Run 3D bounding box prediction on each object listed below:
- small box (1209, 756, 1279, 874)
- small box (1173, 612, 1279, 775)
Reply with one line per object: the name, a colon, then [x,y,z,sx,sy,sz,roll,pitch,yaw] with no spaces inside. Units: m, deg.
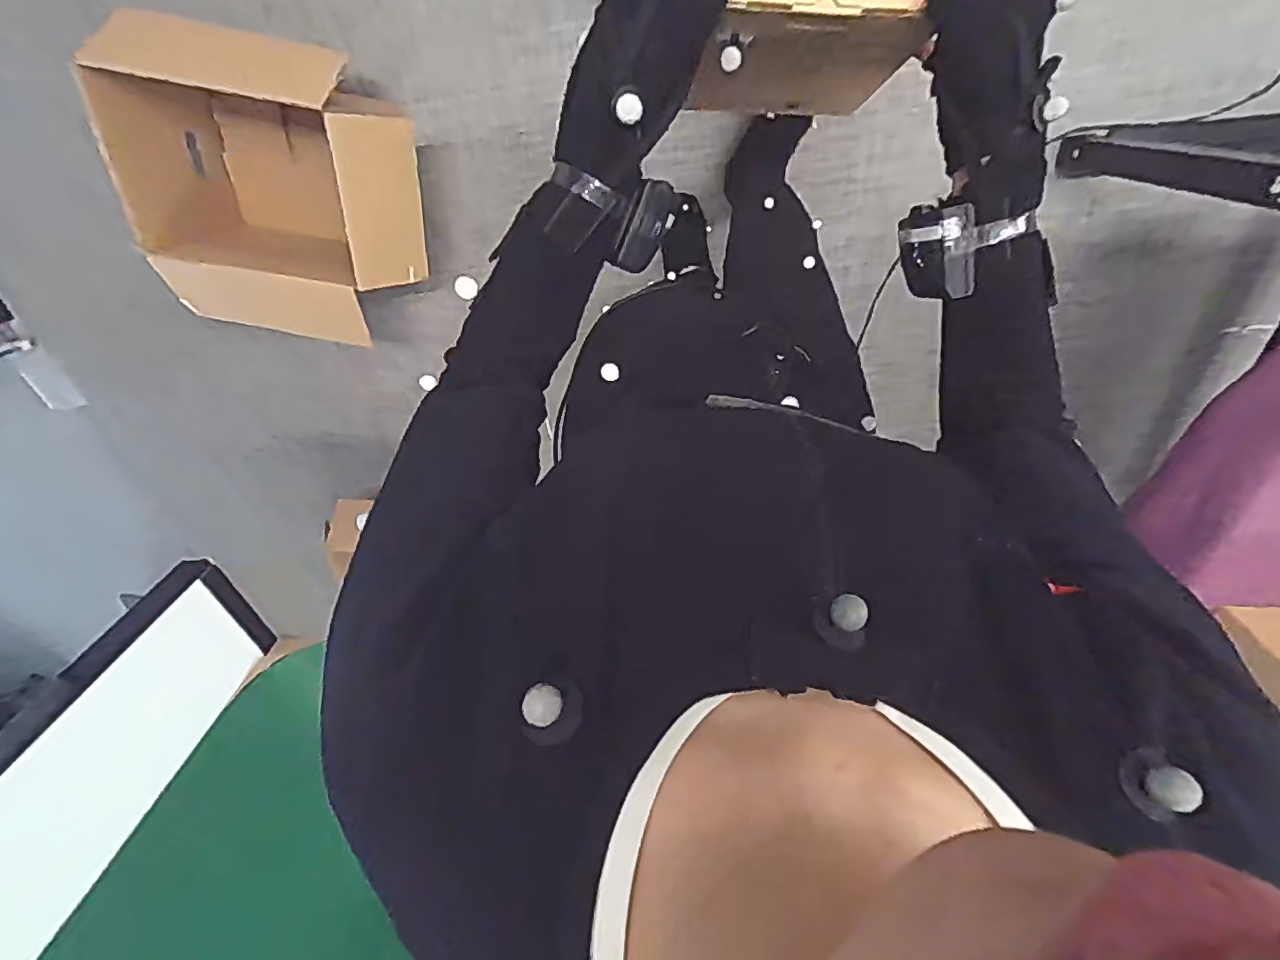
small box: [1.206,0.585,0.966,0.179,0.176,0.168,4,126,3]
small box: [0.970,0.312,0.794,0.179,0.176,0.168,2,125,4]
